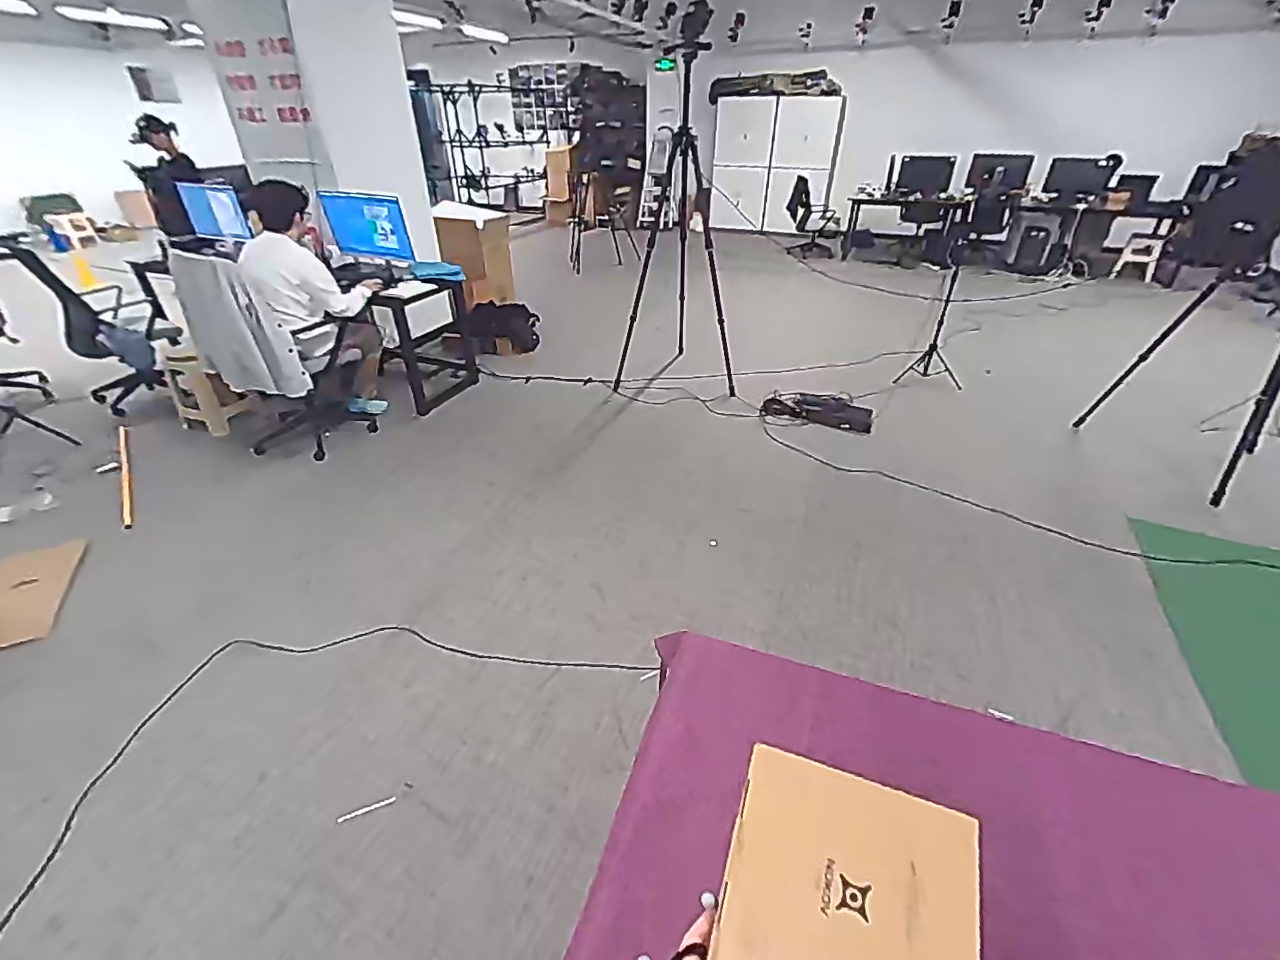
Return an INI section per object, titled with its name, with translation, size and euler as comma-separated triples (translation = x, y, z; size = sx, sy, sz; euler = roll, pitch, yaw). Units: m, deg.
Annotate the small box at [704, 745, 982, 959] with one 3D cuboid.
[small box]
translation = 0.161, 0.354, 0.454
size = 0.179, 0.176, 0.168
euler = 12, 55, 18
